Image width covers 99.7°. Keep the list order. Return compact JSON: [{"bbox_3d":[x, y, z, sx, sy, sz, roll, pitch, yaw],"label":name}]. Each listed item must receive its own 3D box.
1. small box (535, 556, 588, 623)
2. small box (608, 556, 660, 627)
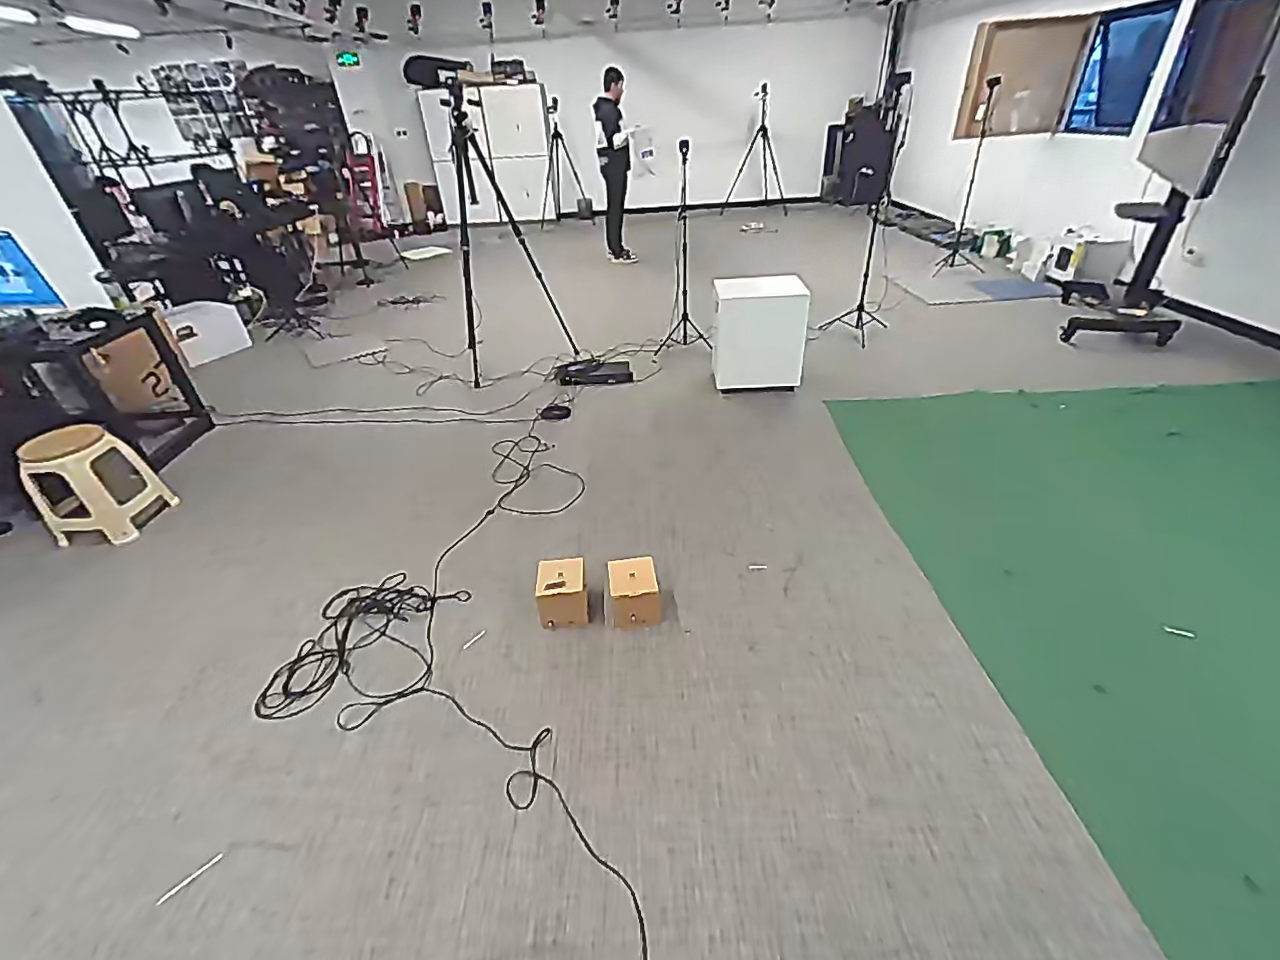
[{"bbox_3d":[-0.278,0.402,1.954,0.168,0.176,0.179,-5,34,-2],"label":"small box"},{"bbox_3d":[-0.023,0.399,1.938,0.168,0.176,0.179,-7,36,-4],"label":"small box"}]
